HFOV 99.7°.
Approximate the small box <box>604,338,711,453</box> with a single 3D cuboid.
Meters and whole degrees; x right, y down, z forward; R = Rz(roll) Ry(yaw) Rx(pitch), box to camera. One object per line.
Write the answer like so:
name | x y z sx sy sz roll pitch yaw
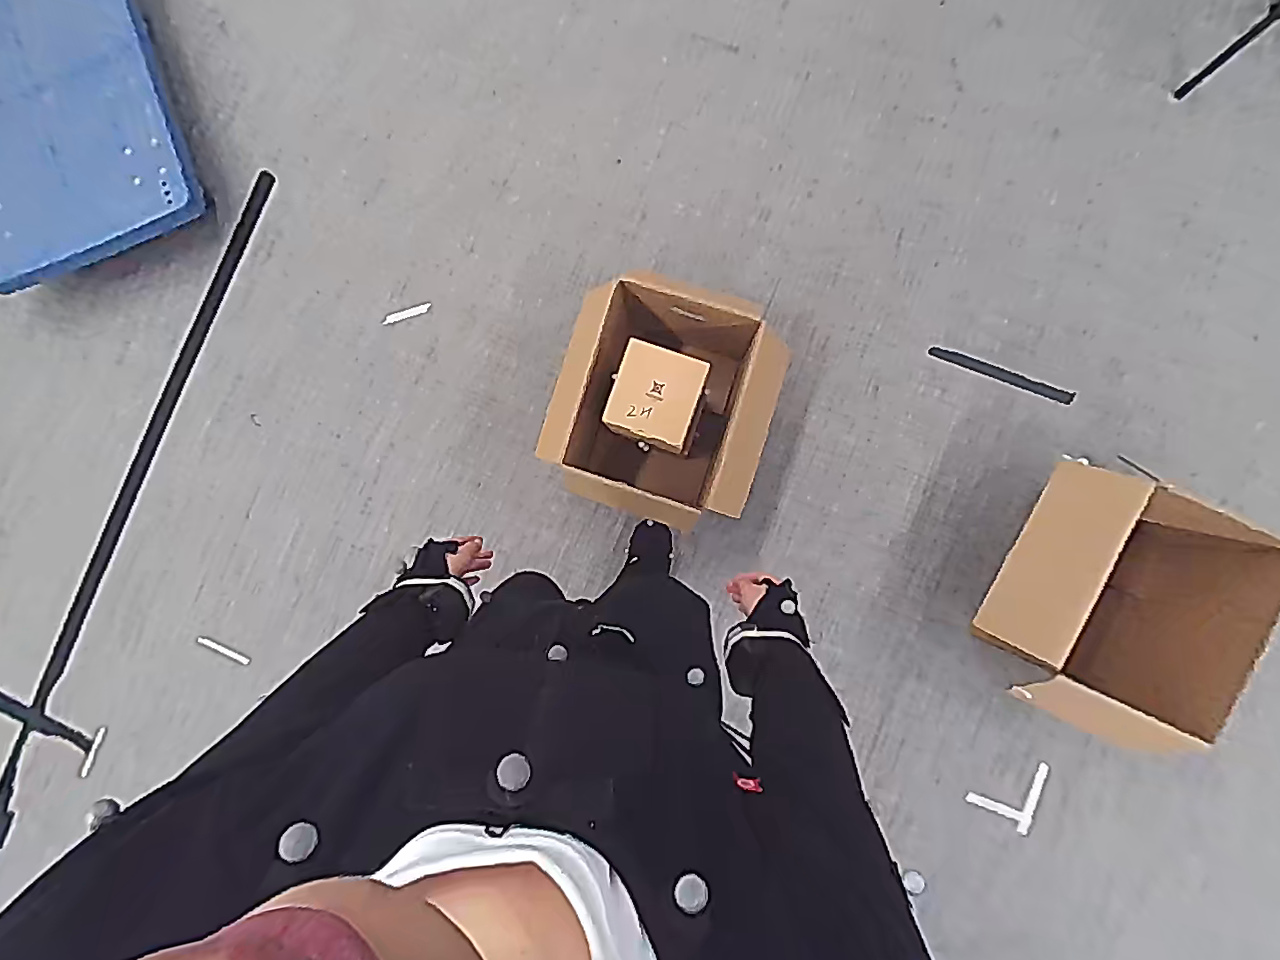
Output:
small box | 0.036 -0.166 1.126 0.168 0.176 0.179 20 89 4
